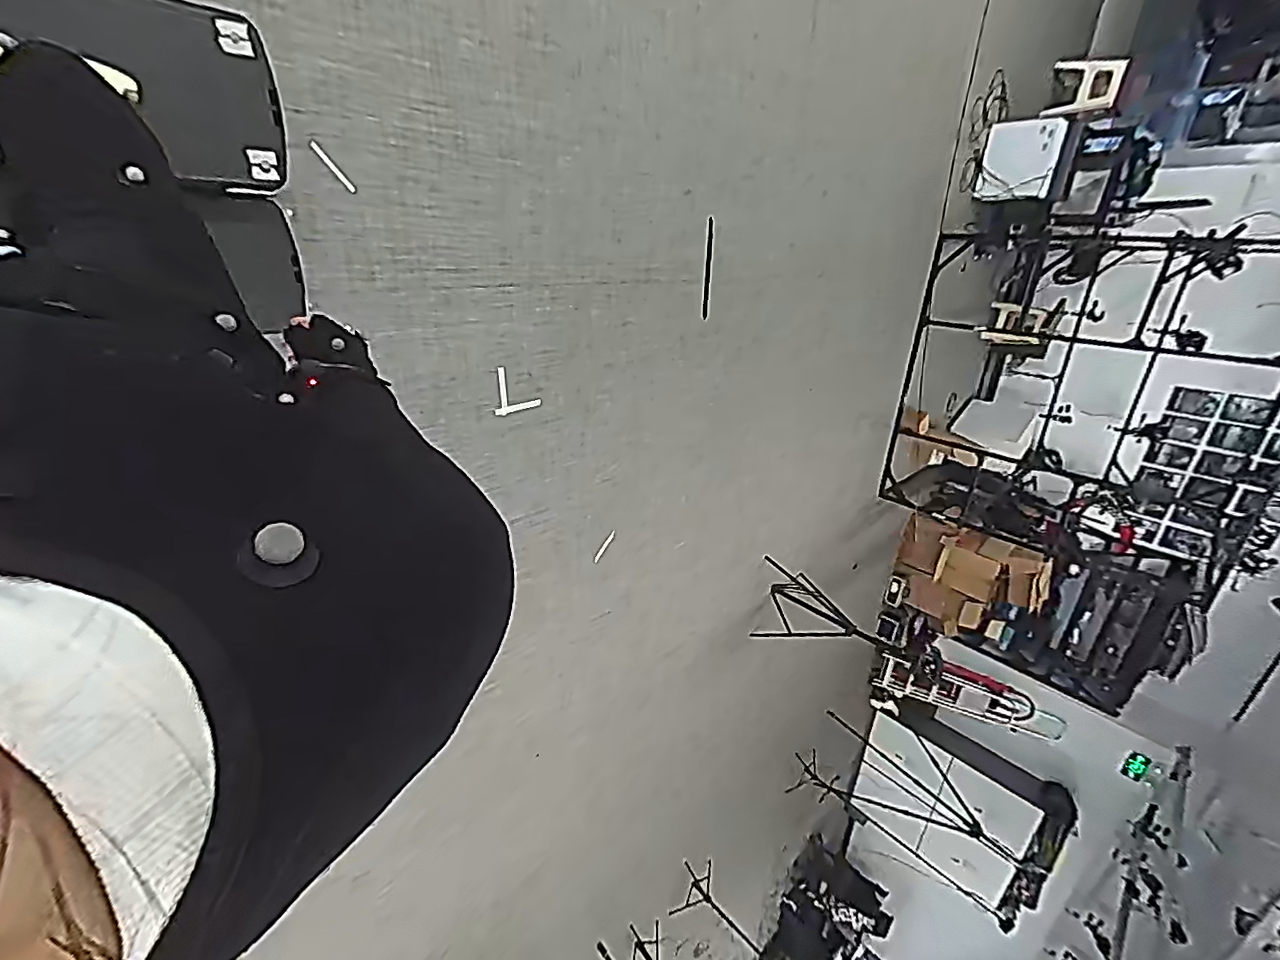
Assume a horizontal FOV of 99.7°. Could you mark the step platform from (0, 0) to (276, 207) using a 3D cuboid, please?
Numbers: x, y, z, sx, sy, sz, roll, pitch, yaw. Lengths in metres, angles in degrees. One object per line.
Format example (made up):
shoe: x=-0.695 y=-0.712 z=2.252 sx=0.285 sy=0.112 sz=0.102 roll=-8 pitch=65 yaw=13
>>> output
step platform: x=-1.002 y=-0.617 z=0.872 sx=0.684 sy=0.204 sz=0.286 roll=-21 pitch=123 yaw=-40
